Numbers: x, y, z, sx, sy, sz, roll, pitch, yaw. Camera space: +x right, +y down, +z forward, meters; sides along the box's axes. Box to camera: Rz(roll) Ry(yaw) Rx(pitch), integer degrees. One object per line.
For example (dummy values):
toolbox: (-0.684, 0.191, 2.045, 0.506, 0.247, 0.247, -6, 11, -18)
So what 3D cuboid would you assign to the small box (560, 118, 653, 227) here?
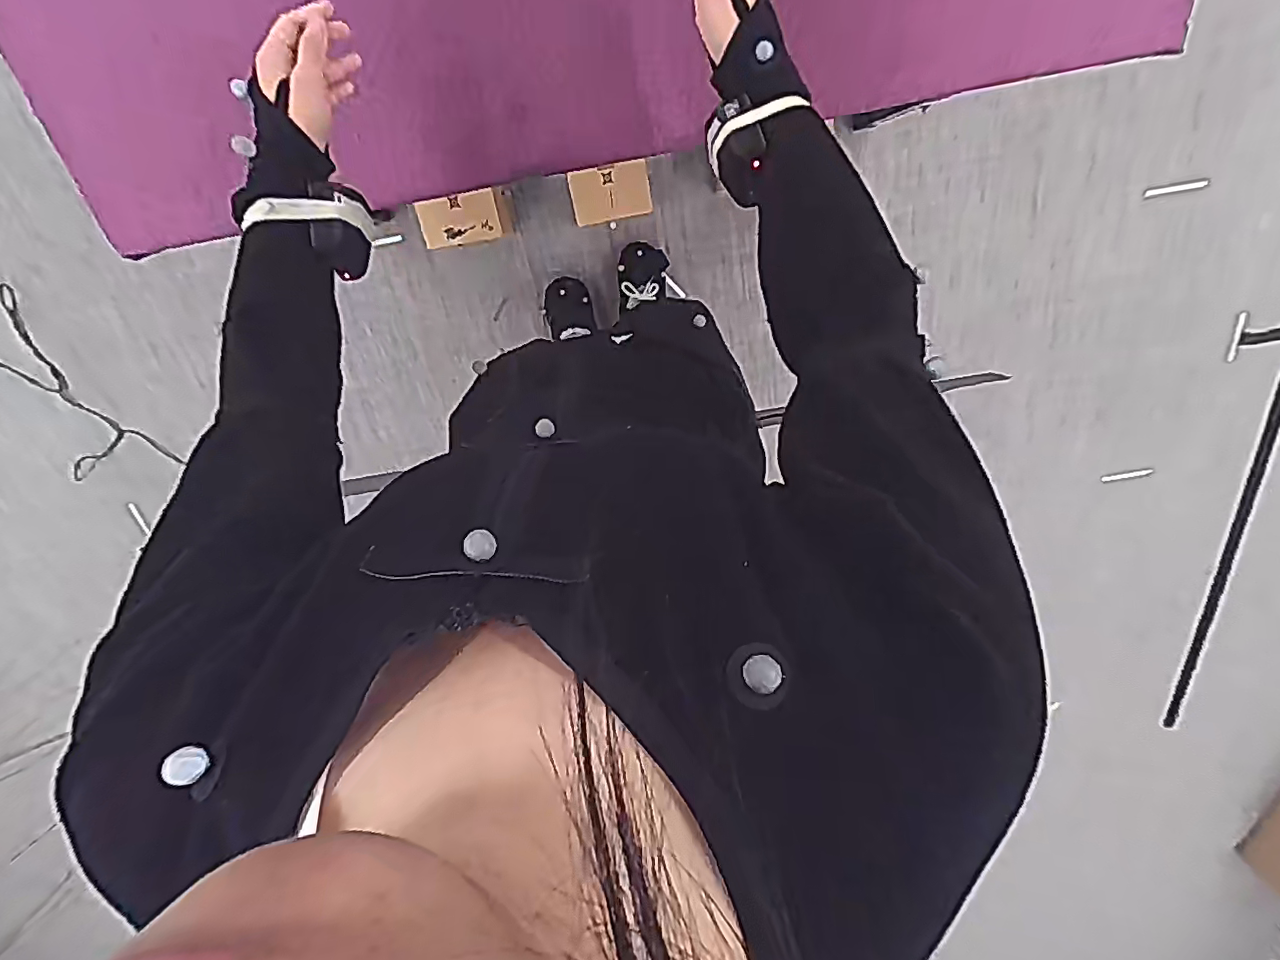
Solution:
small box: (-0.072, -0.658, 1.175, 0.168, 0.176, 0.179, -11, 116, 2)

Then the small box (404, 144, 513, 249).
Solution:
small box: (-0.385, -0.609, 1.179, 0.168, 0.176, 0.179, -8, 114, 0)

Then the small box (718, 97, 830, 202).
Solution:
small box: (0.281, -0.707, 1.175, 0.179, 0.176, 0.168, 5, 115, -5)
